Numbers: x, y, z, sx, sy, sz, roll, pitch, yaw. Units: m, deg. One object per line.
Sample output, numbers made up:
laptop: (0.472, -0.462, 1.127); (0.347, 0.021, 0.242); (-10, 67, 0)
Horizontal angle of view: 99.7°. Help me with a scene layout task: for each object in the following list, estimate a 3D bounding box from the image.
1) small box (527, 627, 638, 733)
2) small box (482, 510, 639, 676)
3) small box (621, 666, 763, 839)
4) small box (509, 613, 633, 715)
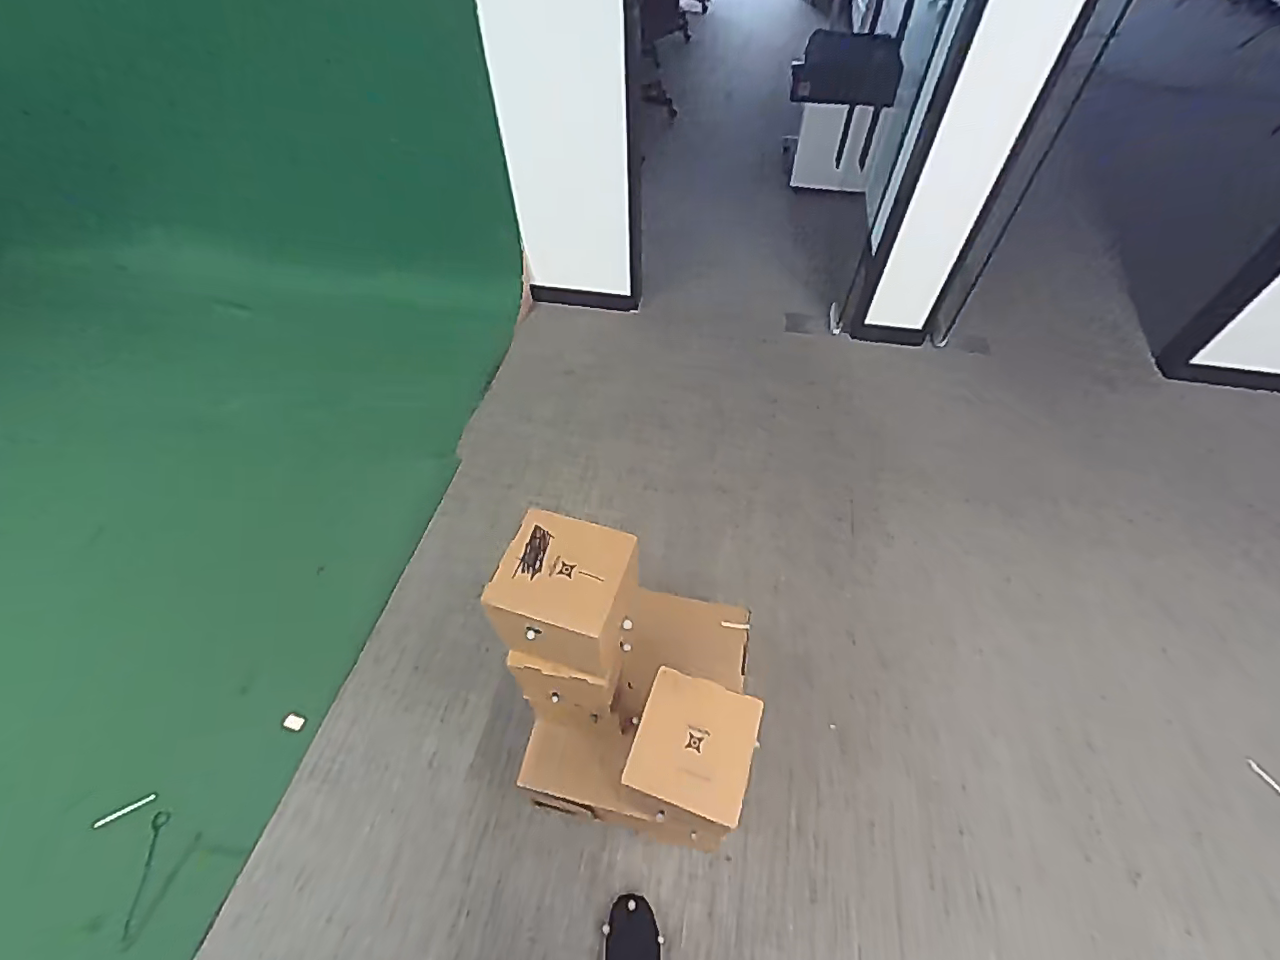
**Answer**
small box: (-0.104, 0.386, 1.073); (0.179, 0.176, 0.168); (9, 51, 7)
small box: (-0.108, 0.176, 0.821); (0.179, 0.176, 0.168); (15, 54, 11)
small box: (0.077, 0.422, 0.834); (0.168, 0.176, 0.179); (17, 54, 13)
small box: (-0.109, 0.285, 0.945); (0.168, 0.176, 0.179); (10, 53, 8)
